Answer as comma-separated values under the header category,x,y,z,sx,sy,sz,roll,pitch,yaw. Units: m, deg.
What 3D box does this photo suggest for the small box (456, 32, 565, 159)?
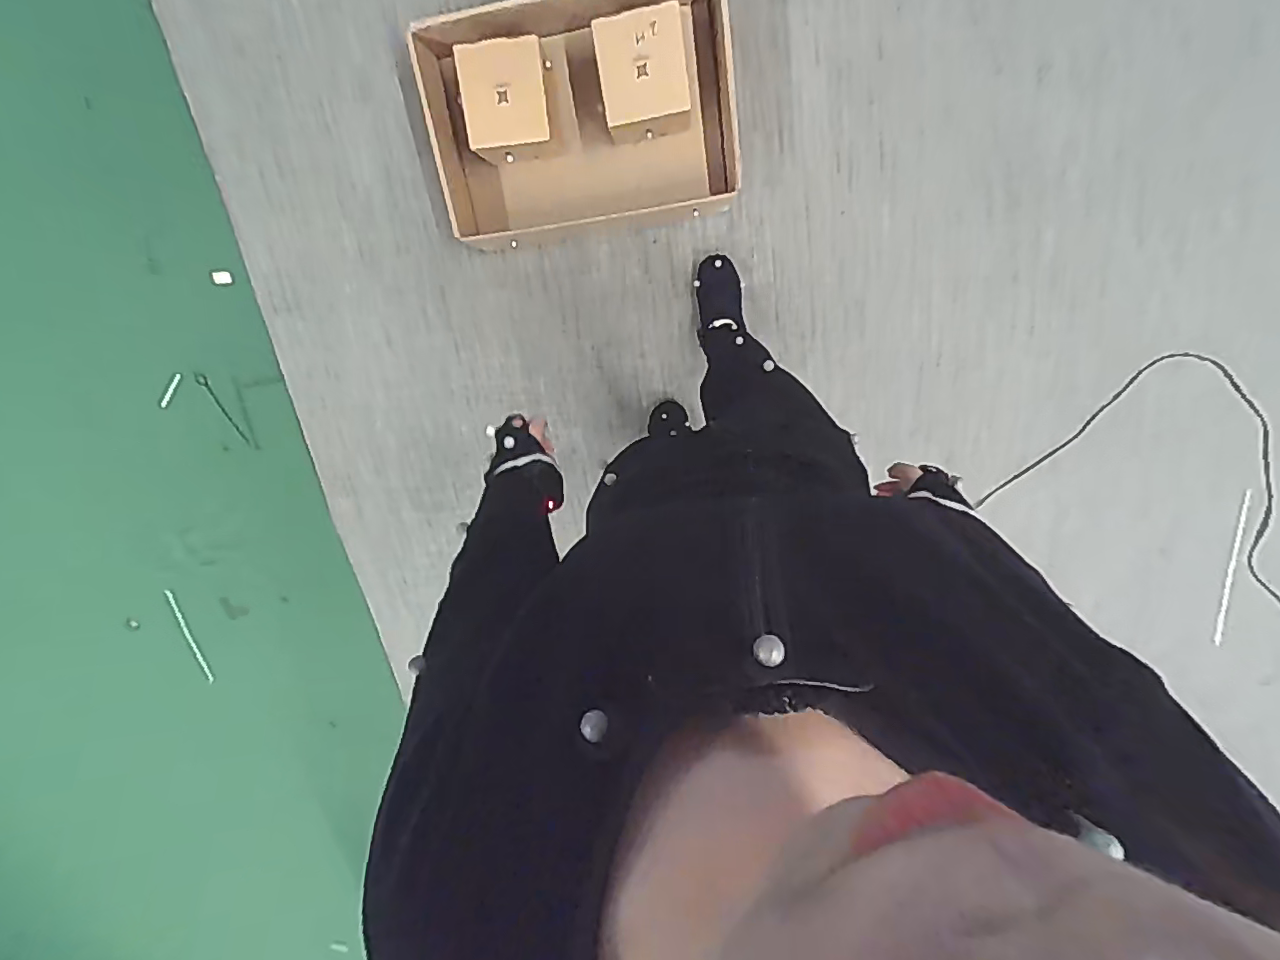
category,x,y,z,sx,sy,sz,roll,pitch,yaw
small box,-0.257,-0.780,1.119,0.168,0.176,0.179,-3,110,4

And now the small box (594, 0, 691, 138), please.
category,x,y,z,sx,sy,sz,roll,pitch,yaw
small box,0.014,-0.810,1.087,0.168,0.176,0.179,-7,110,6
